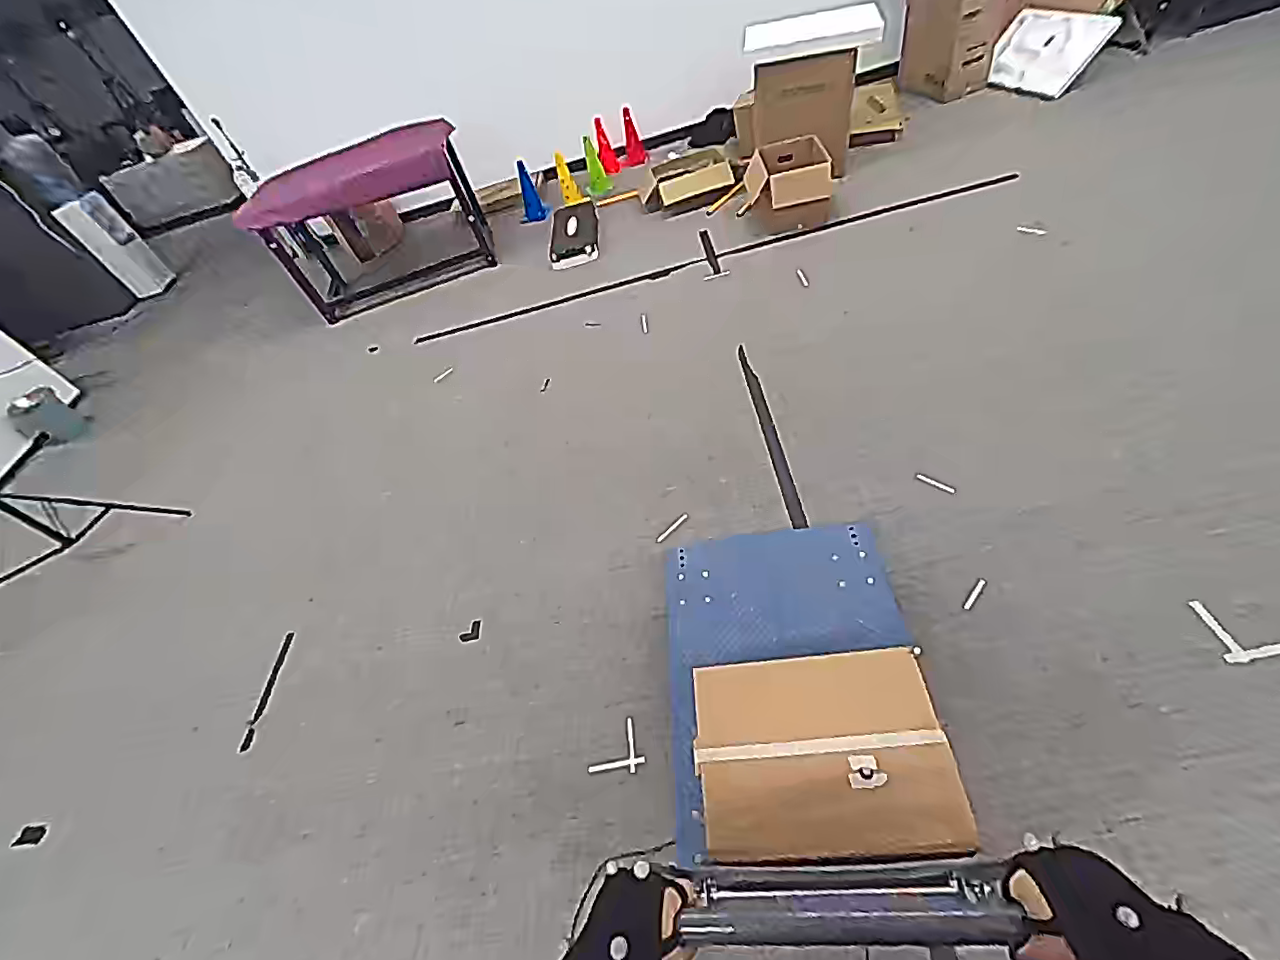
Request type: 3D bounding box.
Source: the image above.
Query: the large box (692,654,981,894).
[{"bbox_3d":[0.326,0.557,1.010,0.408,0.320,0.320,-9,49,9],"label":"large box"}]
